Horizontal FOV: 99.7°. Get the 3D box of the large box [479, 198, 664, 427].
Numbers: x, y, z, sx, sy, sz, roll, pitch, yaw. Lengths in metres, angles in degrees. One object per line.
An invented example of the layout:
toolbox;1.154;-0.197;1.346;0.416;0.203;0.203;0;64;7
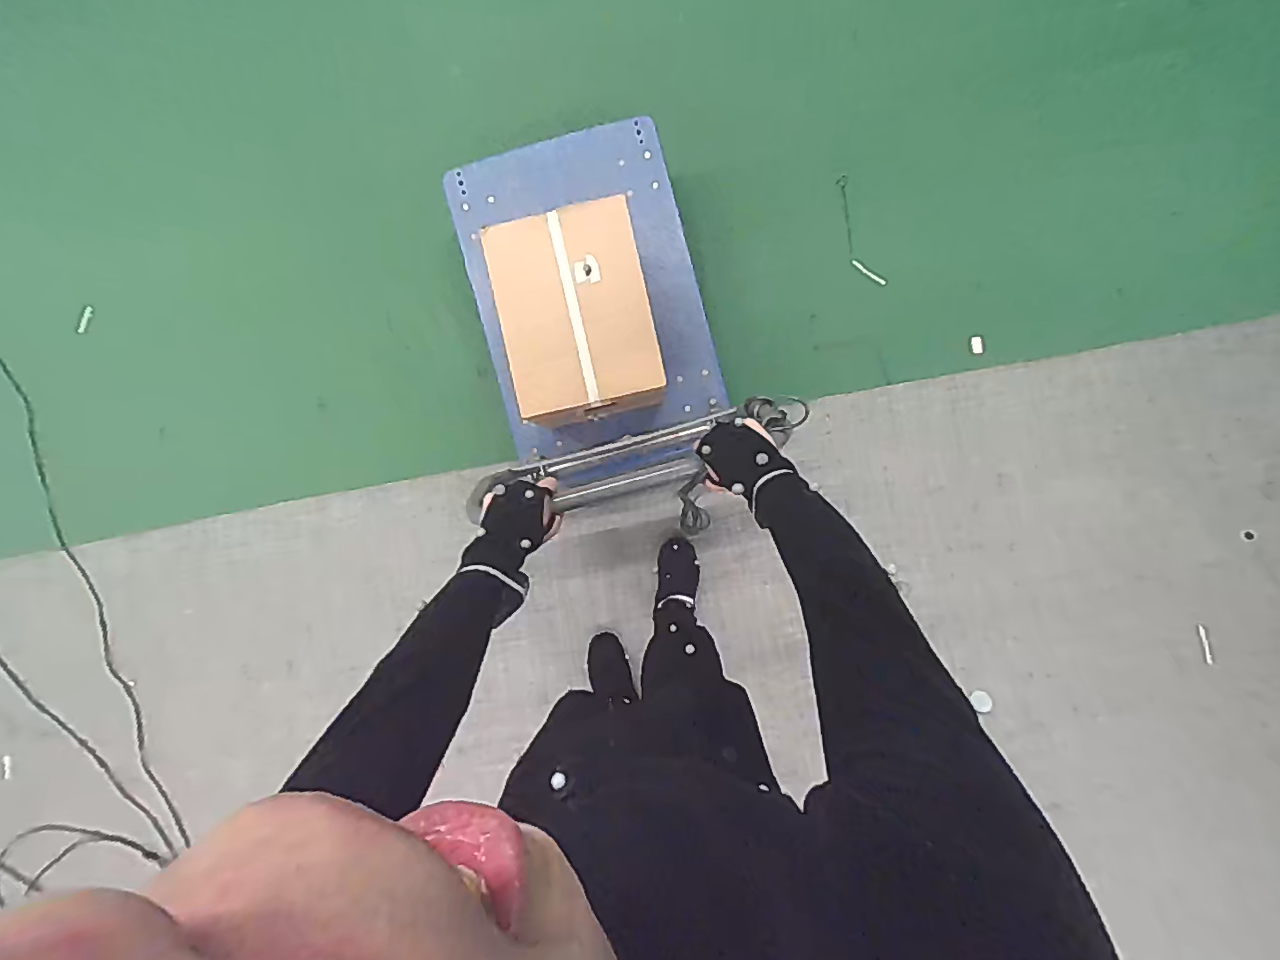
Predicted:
large box;-0.137;-0.360;1.268;0.320;0.320;0.408;-12;92;1
